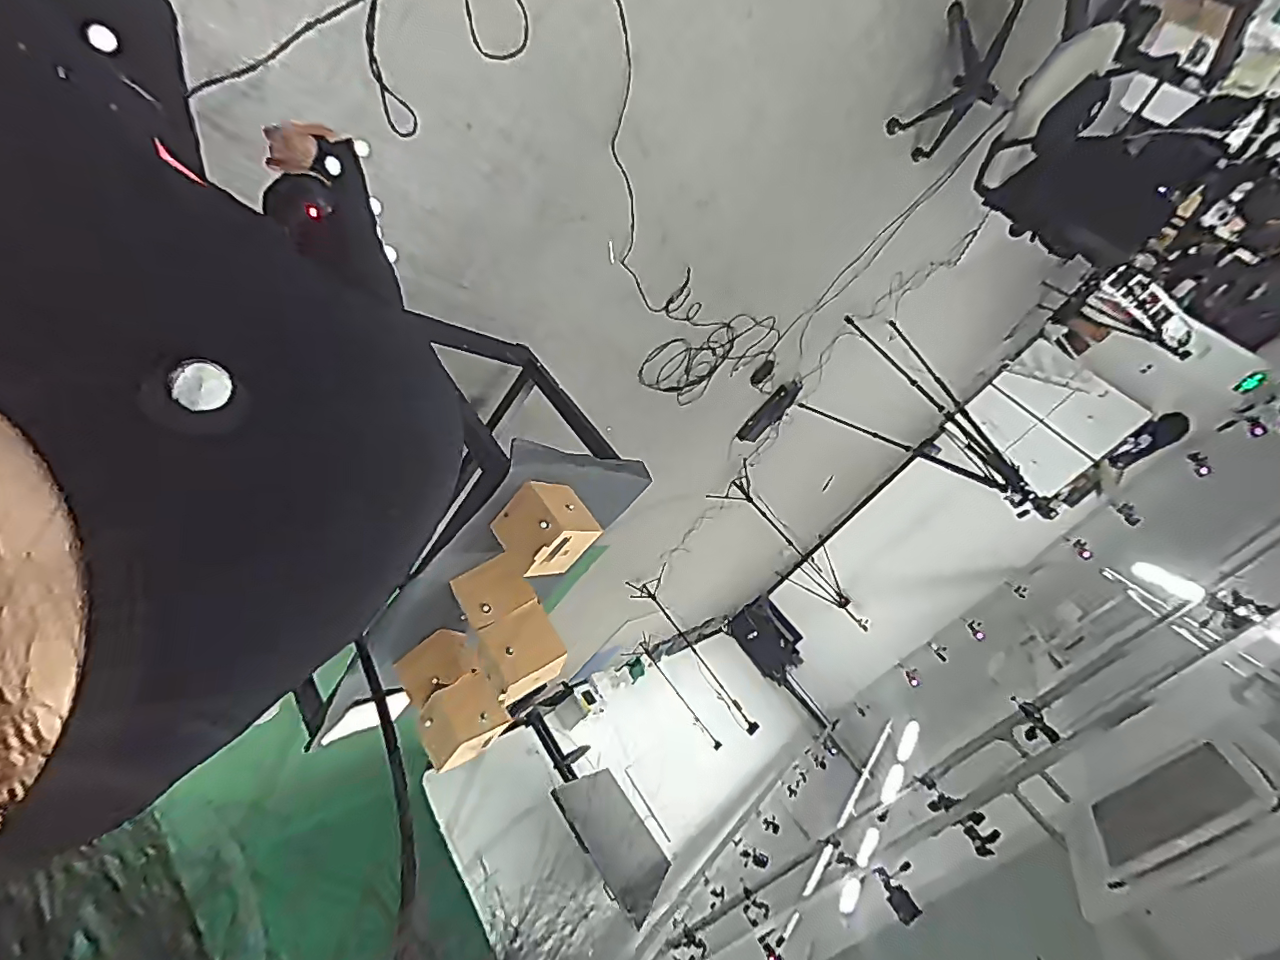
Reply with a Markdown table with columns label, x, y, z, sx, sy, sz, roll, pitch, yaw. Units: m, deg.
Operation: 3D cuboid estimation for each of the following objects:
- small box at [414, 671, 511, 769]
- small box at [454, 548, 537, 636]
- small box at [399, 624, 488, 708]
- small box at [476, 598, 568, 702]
| label | x | y | z | sx | sy | sz | roll | pitch | yaw |
| --- | --- | --- | --- | --- | --- | --- | --- | --- | --- |
| small box | -0.512 | 0.682 | 1.558 | 0.179 | 0.176 | 0.168 | -3 | 136 | -54 |
| small box | -0.401 | 0.321 | 1.502 | 0.179 | 0.176 | 0.168 | -29 | 154 | -24 |
| small box | -0.600 | 0.566 | 1.637 | 0.179 | 0.176 | 0.168 | -38 | 156 | -6 |
| small box | -0.320 | 0.446 | 1.436 | 0.179 | 0.176 | 0.168 | -23 | 152 | -35 |
